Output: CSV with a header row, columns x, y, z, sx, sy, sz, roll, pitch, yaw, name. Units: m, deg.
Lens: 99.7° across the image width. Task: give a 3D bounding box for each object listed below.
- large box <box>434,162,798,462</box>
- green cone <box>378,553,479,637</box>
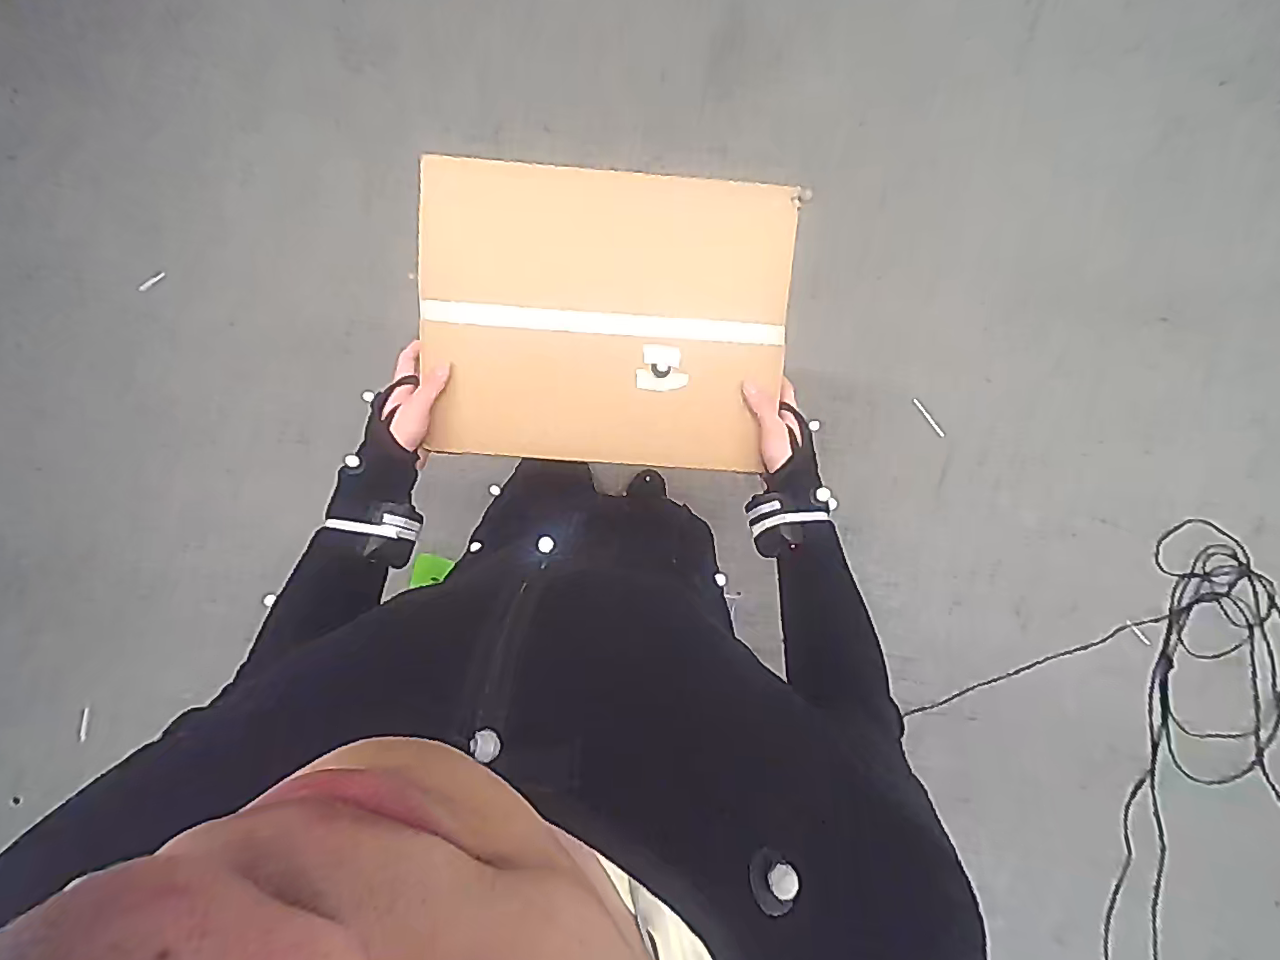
x,y,z,sx,sy,sz,roll,pitch,yaw,name
-0.037,-0.205,0.756,0.408,0.320,0.320,3,100,-3,large box
-0.613,0.348,1.490,0.200,0.368,0.202,14,94,1,green cone
